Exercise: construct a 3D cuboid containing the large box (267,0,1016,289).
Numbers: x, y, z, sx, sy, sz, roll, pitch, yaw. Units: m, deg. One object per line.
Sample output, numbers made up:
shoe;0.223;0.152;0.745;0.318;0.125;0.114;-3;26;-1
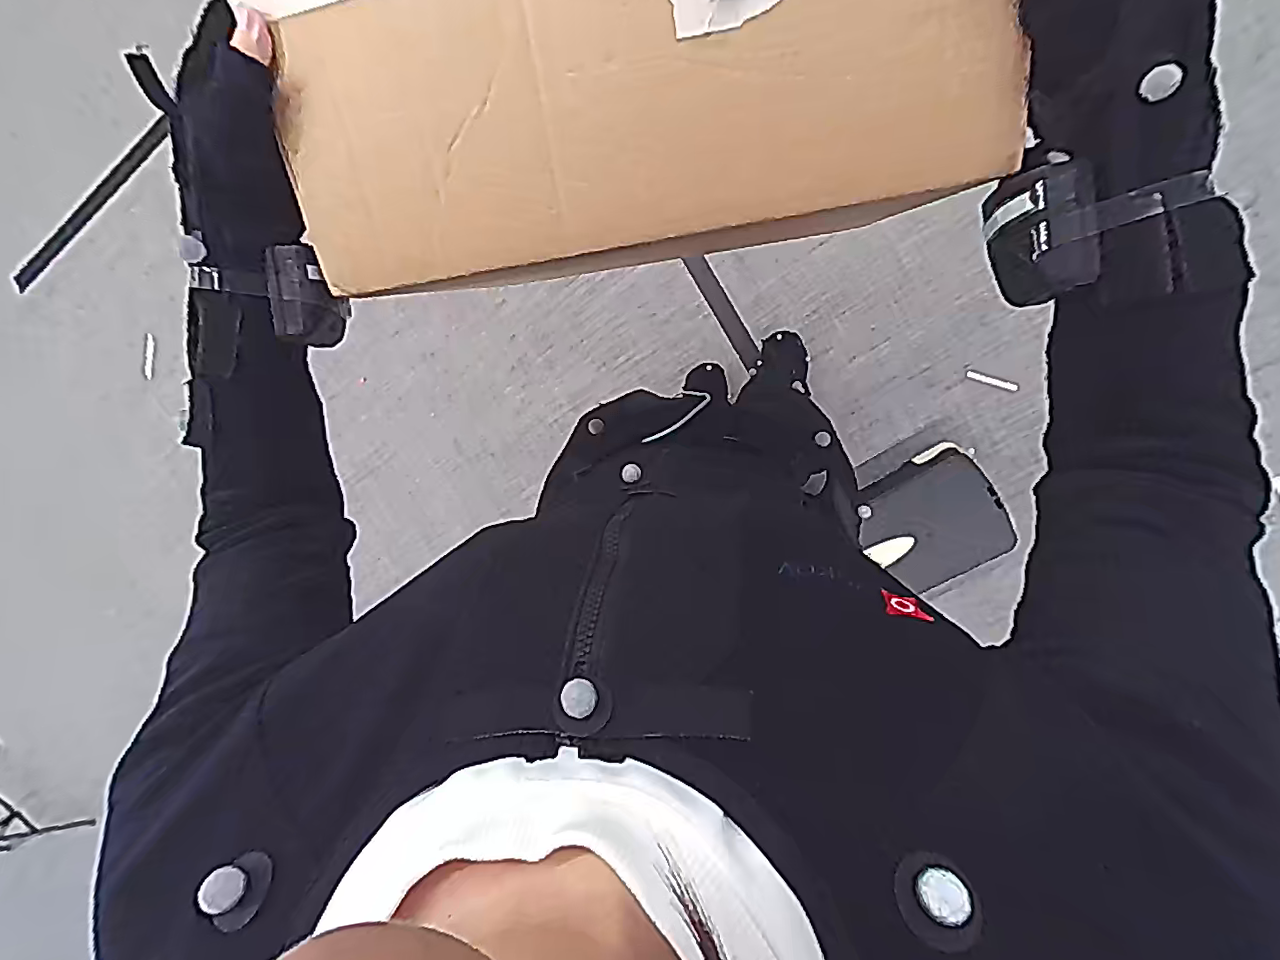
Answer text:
large box;-0.003;-0.346;0.414;0.408;0.320;0.320;-6;110;11
